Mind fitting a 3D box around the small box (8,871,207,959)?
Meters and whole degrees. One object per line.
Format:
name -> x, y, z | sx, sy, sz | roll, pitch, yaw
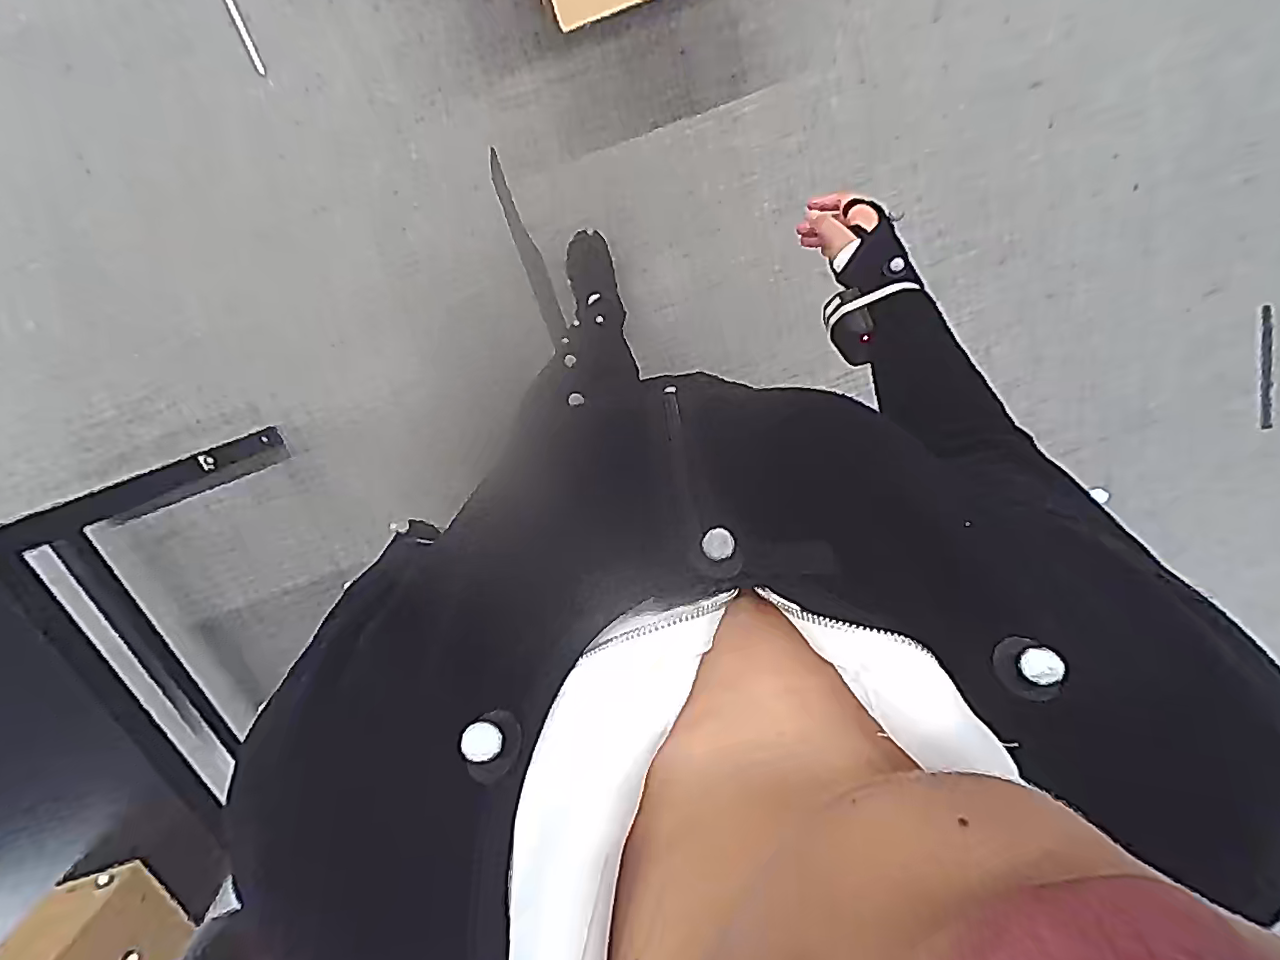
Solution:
small box -> -0.857, 0.761, 0.857 | 0.168, 0.176, 0.179 | -19, 109, 4
